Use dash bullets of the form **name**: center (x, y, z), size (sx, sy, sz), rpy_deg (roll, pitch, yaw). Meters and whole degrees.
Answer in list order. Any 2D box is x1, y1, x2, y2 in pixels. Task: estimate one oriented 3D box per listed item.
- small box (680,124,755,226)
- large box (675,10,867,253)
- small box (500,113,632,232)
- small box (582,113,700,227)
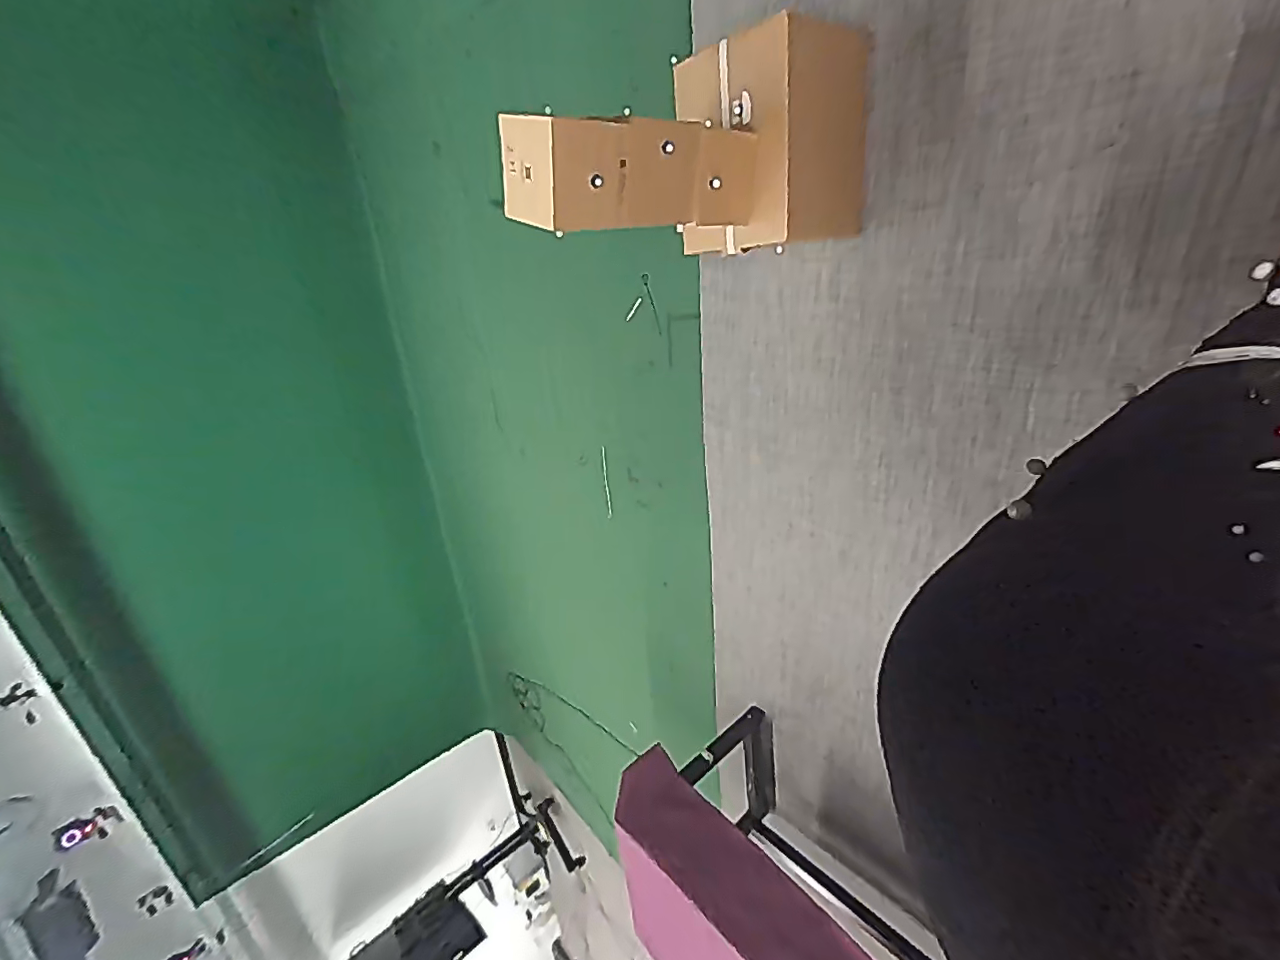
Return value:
- **small box**: center (0.126, -0.649, 1.156), size (0.168, 0.176, 0.179), rpy_deg (31, 131, 40)
- **large box**: center (0.309, -0.770, 1.273), size (0.320, 0.320, 0.408), rpy_deg (18, 121, 47)
- **small box**: center (-0.131, -0.556, 0.976), size (0.179, 0.176, 0.168), rpy_deg (36, 134, 38)
- **small box**: center (-0.001, -0.608, 1.062), size (0.168, 0.176, 0.179), rpy_deg (35, 135, 39)
